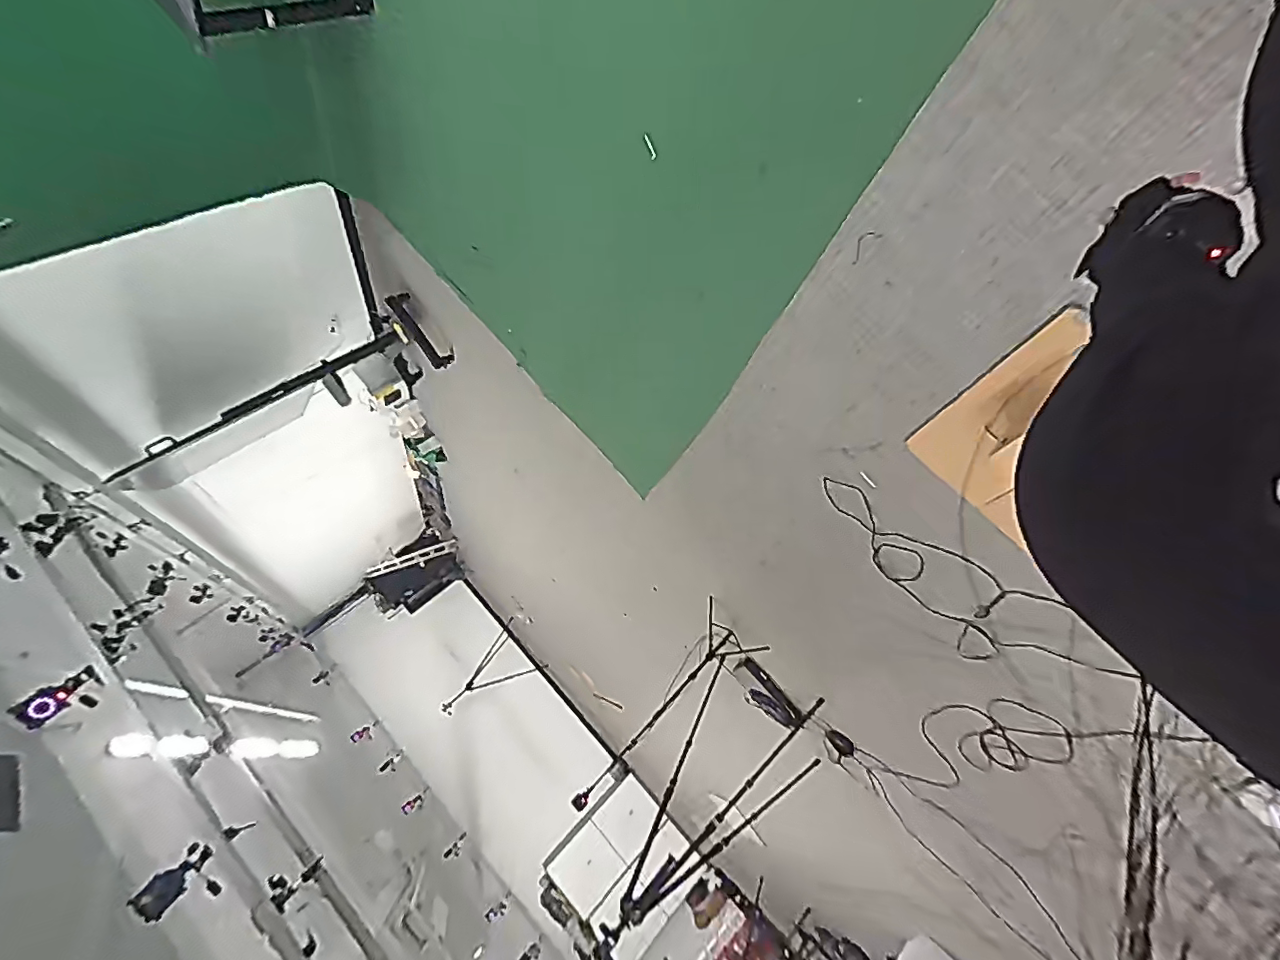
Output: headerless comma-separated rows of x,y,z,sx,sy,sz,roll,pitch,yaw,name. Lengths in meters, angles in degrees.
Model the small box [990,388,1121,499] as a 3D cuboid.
1.023,-0.091,1.332,0.168,0.176,0.179,44,151,11,small box
